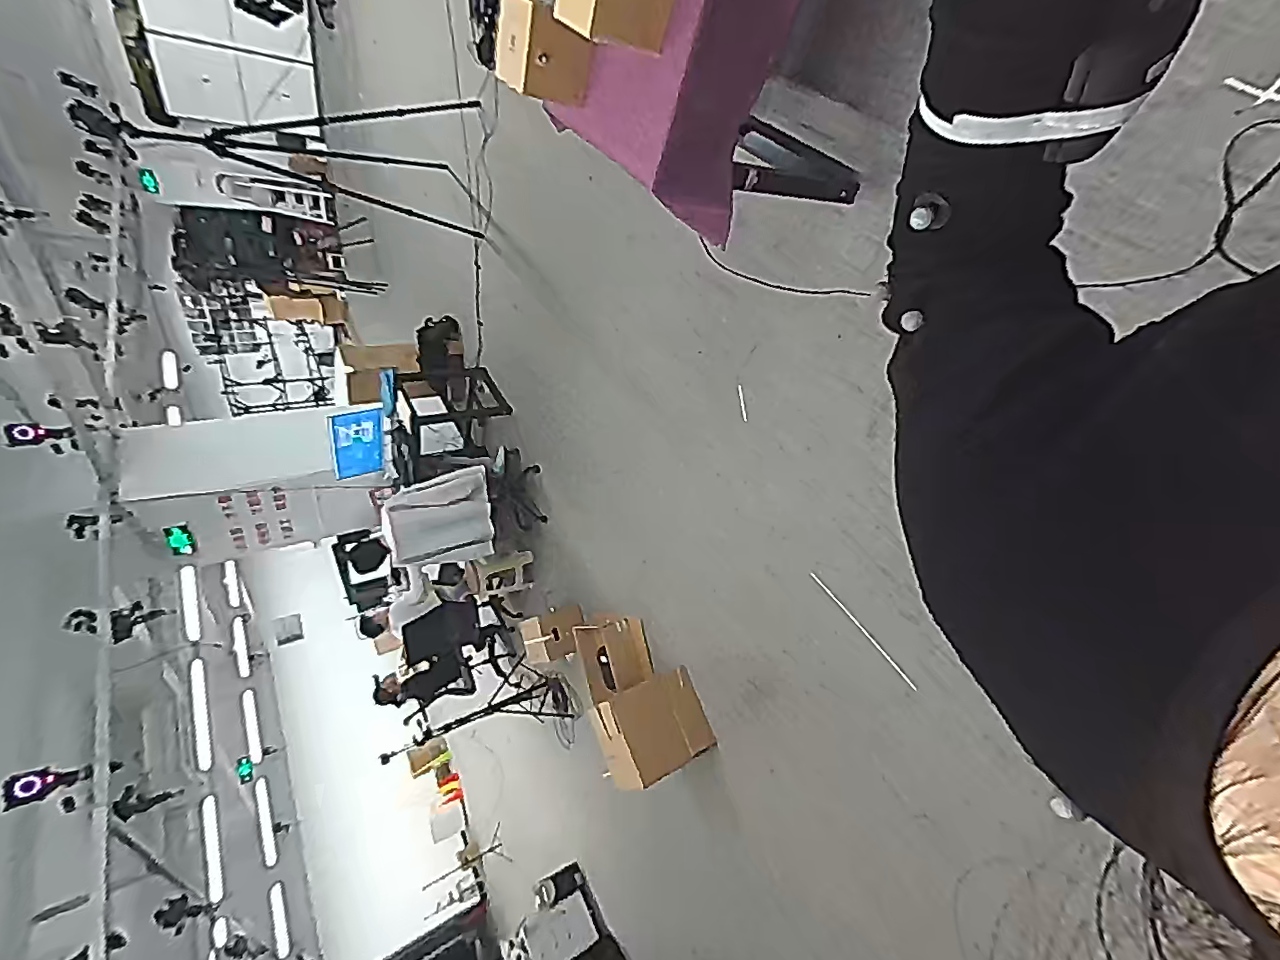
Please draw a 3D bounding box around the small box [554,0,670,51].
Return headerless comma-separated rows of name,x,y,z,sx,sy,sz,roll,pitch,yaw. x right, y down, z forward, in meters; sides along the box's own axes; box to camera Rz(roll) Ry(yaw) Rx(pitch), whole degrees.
small box,-0.044,-0.969,1.042,0.168,0.176,0.179,55,140,30
